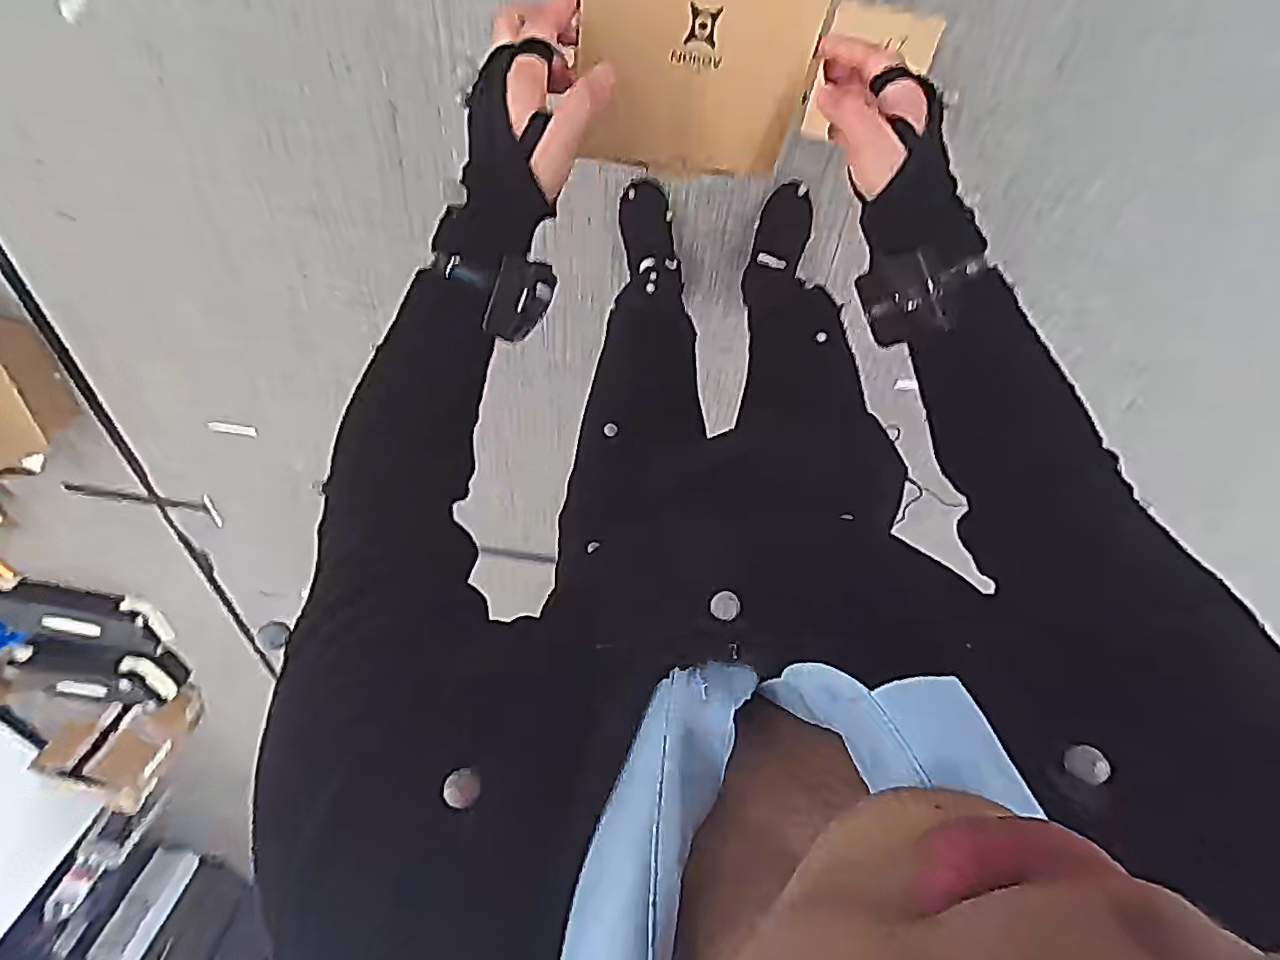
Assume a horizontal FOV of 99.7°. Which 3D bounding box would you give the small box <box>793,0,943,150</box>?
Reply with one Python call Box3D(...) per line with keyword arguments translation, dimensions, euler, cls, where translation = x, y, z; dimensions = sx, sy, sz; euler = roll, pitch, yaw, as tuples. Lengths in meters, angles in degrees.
Box3D(translation=(0.368, -0.686, 0.916), dimensions=(0.168, 0.176, 0.179), euler=(10, 129, -2), cls="small box")
